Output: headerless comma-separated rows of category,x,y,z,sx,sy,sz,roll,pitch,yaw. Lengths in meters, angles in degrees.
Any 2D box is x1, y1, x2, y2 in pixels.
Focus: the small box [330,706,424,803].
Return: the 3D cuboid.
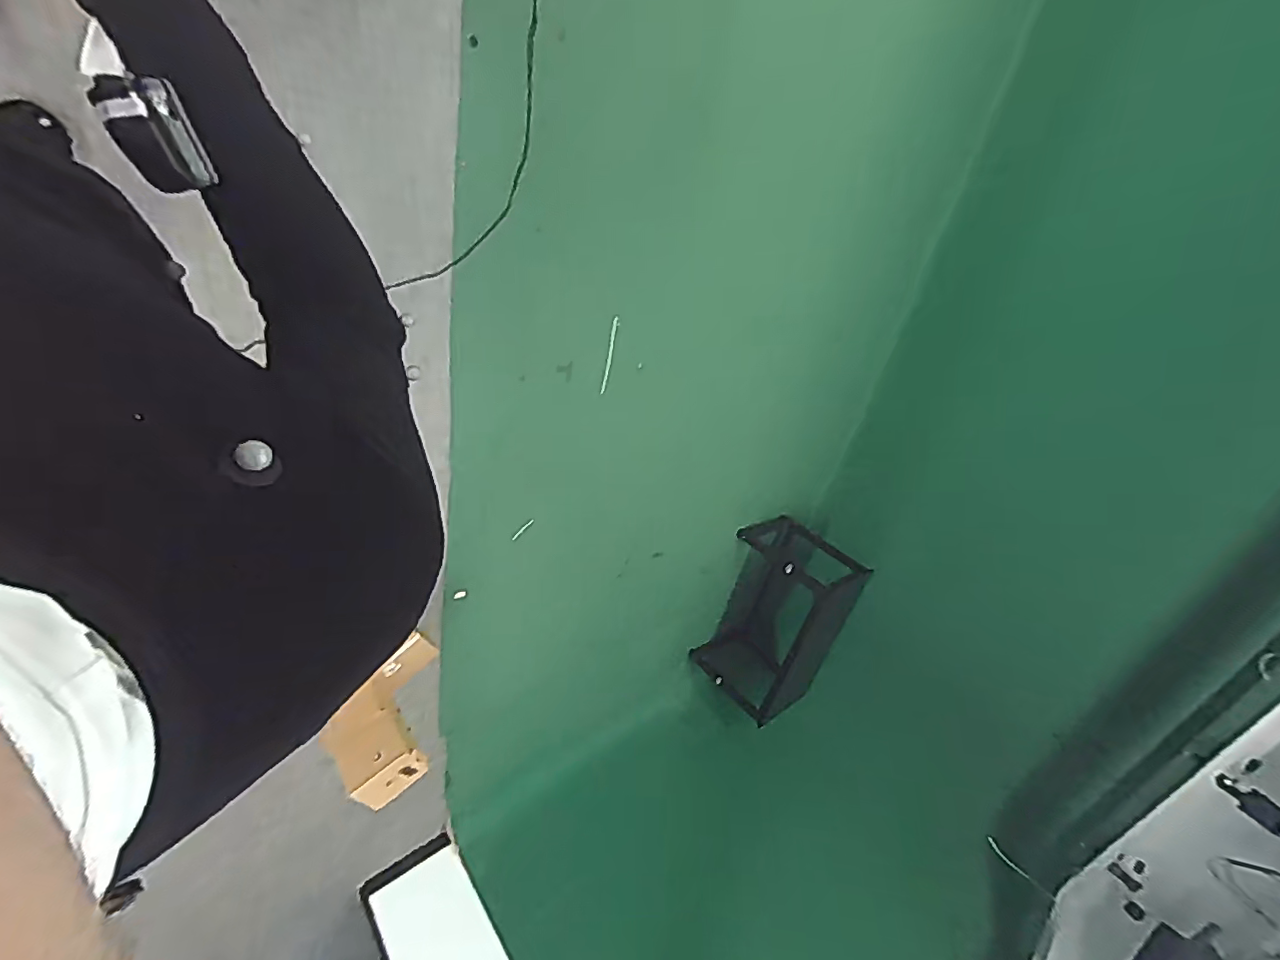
small box,-0.790,0.819,1.623,0.179,0.176,0.168,-35,141,-22
